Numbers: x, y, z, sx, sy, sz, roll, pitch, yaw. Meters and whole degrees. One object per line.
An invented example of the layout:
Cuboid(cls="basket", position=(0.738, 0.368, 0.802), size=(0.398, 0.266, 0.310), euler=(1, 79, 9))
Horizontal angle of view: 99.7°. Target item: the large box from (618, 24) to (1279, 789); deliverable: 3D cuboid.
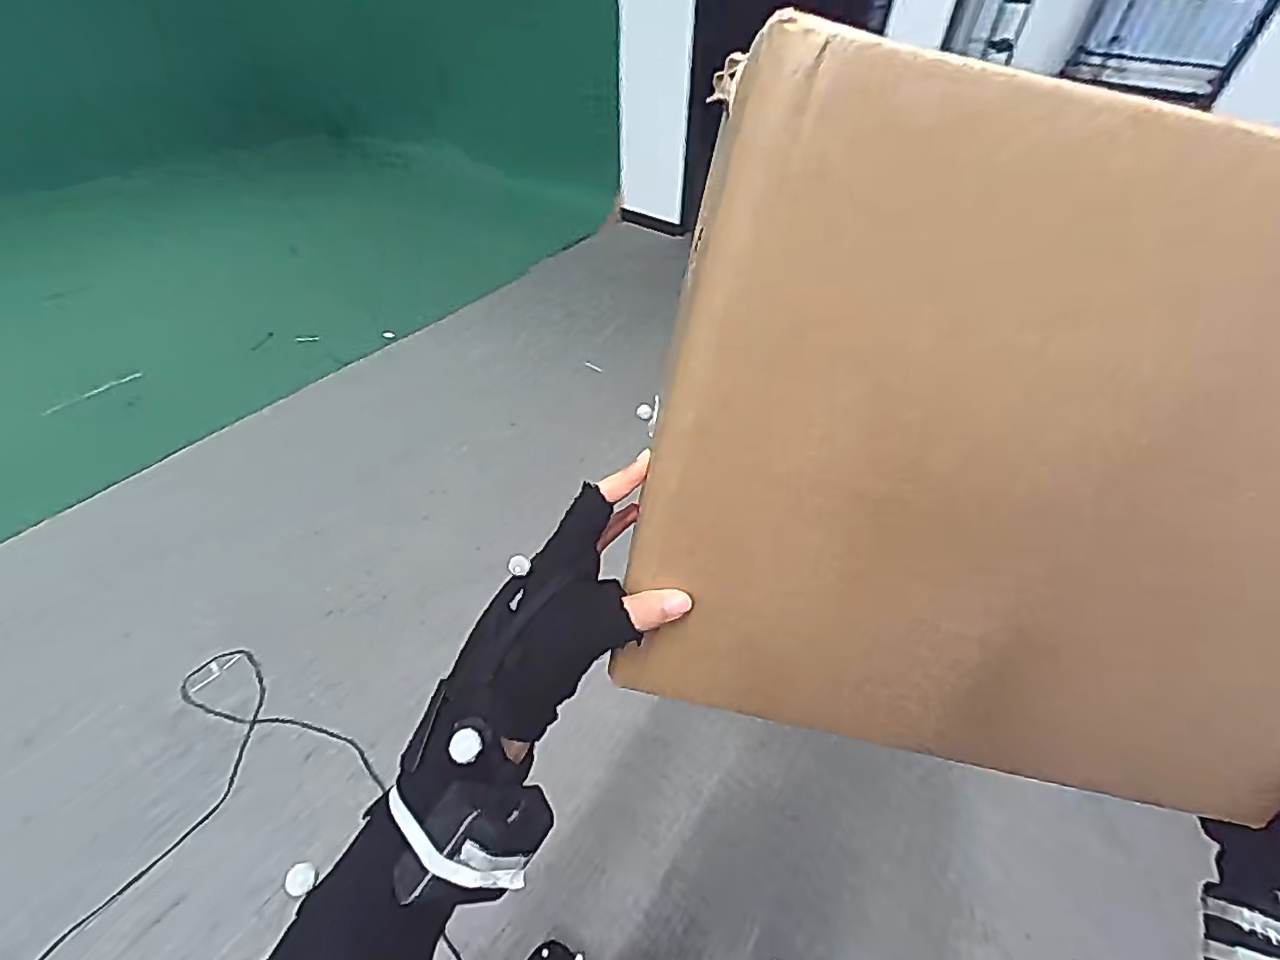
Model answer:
Cuboid(cls="large box", position=(0.217, -0.046, 0.371), size=(0.408, 0.320, 0.320), euler=(13, 34, -2))
